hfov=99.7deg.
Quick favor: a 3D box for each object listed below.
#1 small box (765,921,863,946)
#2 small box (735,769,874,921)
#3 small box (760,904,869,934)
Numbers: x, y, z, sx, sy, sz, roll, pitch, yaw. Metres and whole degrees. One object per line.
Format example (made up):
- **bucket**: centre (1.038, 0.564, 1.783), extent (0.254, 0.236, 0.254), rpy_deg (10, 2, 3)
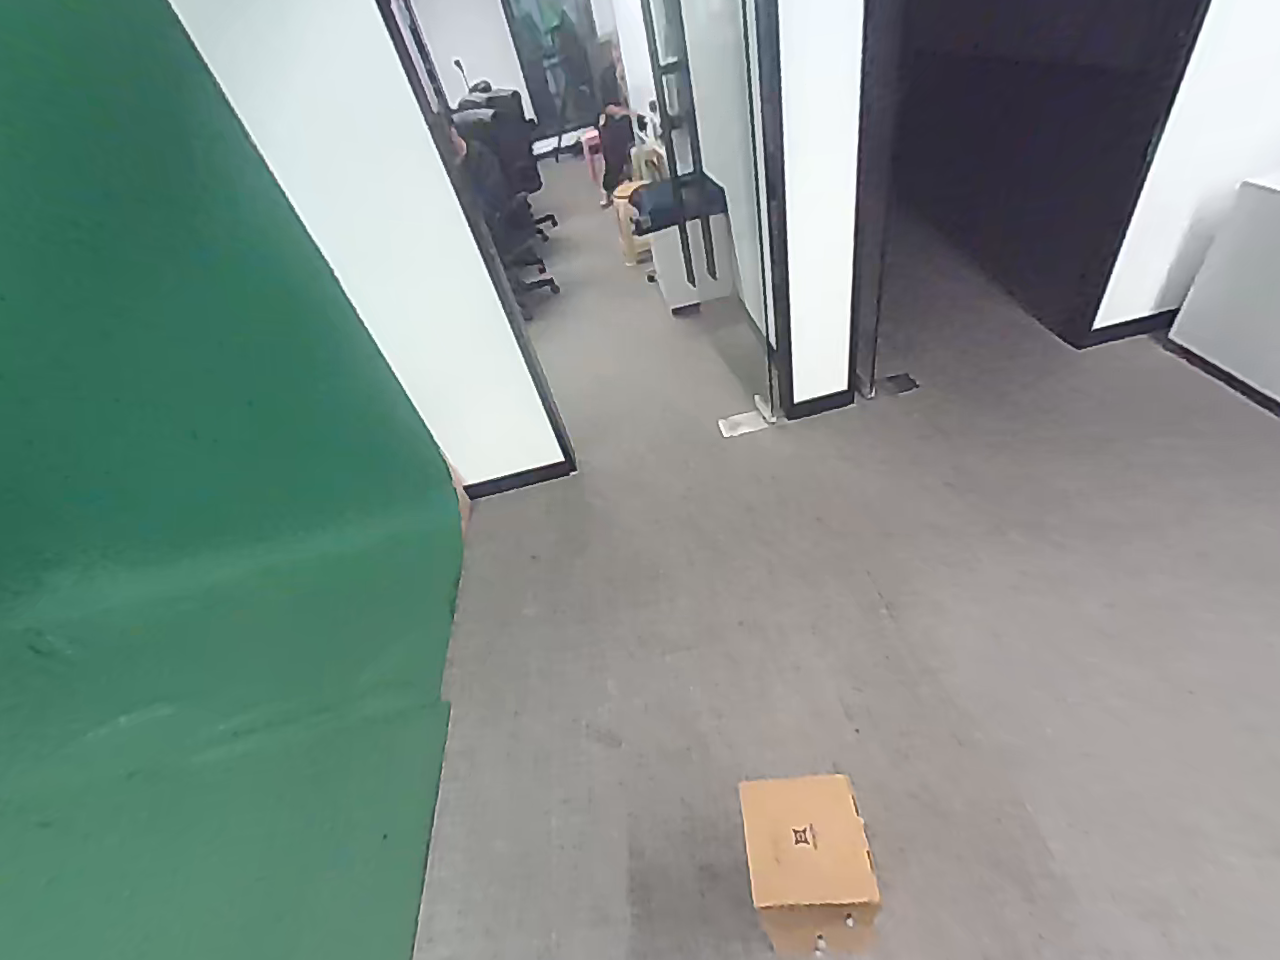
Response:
- **small box**: centre (0.331, 0.815, 1.085), extent (0.179, 0.176, 0.168), rpy_deg (-11, 42, 9)
- **small box**: centre (0.256, 0.586, 0.866), extent (0.179, 0.176, 0.168), rpy_deg (-11, 41, 9)
- **small box**: centre (0.294, 0.701, 0.977), extent (0.179, 0.176, 0.168), rpy_deg (-12, 43, 7)
